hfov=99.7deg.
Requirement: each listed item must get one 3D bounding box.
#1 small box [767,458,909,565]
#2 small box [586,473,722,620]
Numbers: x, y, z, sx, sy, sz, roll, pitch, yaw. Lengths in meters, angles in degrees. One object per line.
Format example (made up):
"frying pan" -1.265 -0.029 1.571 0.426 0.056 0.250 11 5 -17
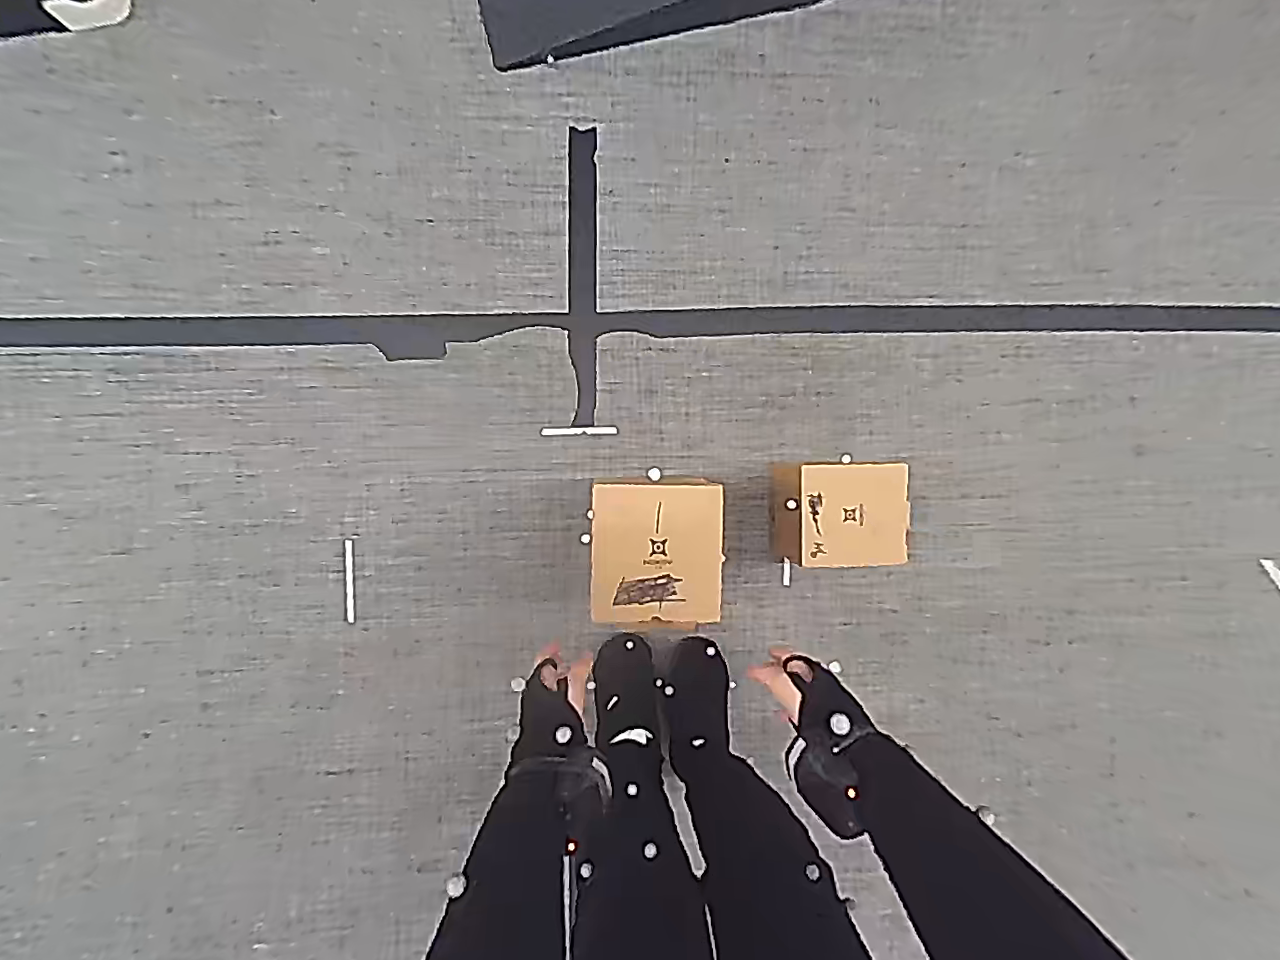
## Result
"small box" 0.331 0.046 0.926 0.179 0.176 0.168 -1 93 -4
"small box" 0.014 0.083 0.745 0.168 0.176 0.179 1 92 -4
